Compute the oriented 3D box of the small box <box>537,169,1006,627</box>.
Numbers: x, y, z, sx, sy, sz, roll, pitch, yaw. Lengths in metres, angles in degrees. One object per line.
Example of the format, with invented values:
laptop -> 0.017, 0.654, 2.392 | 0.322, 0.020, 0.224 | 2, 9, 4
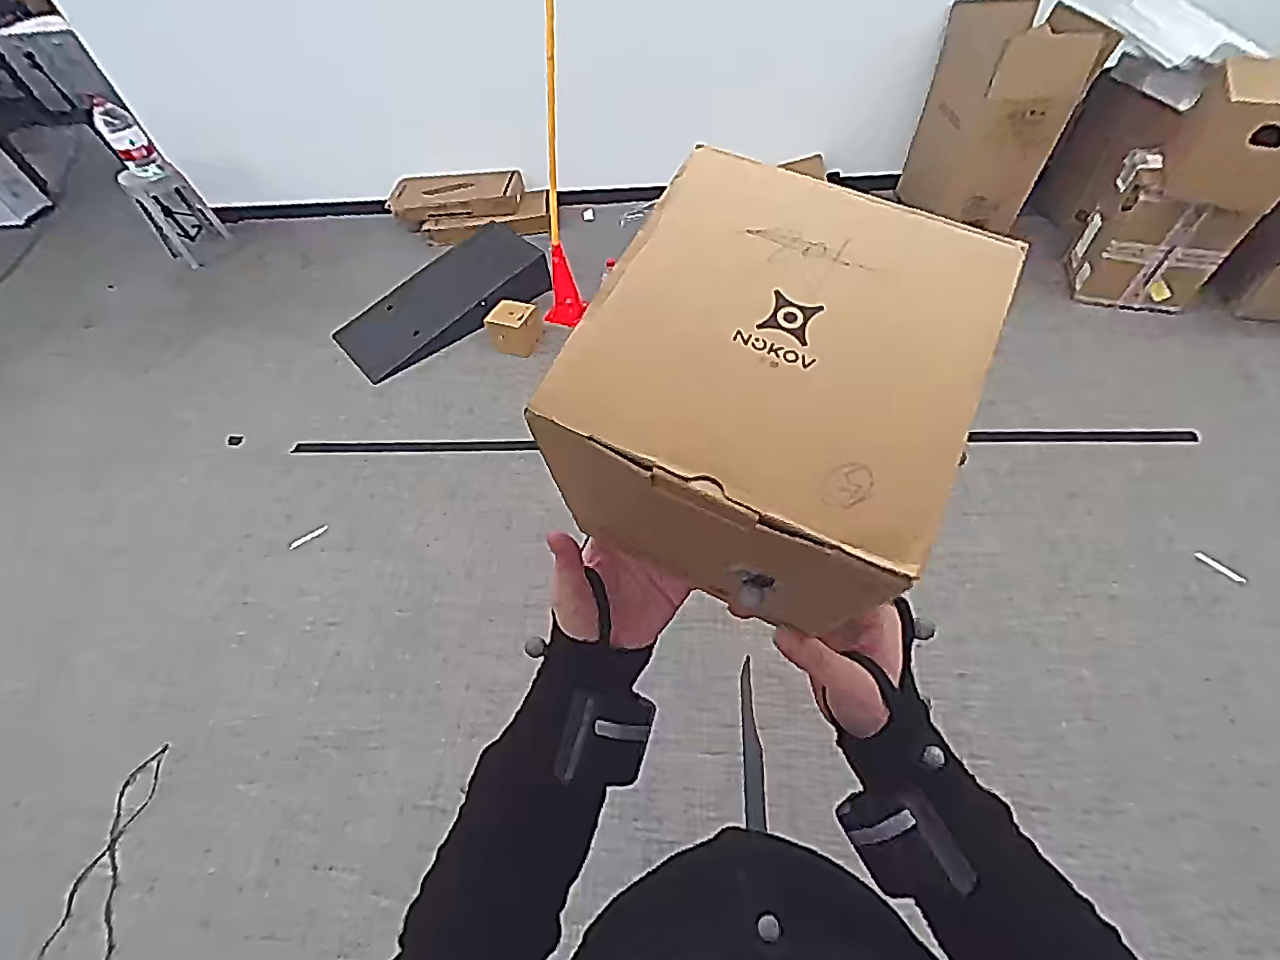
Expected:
small box -> 0.067, -0.031, 0.319 | 0.168, 0.176, 0.179 | 24, 70, 10
